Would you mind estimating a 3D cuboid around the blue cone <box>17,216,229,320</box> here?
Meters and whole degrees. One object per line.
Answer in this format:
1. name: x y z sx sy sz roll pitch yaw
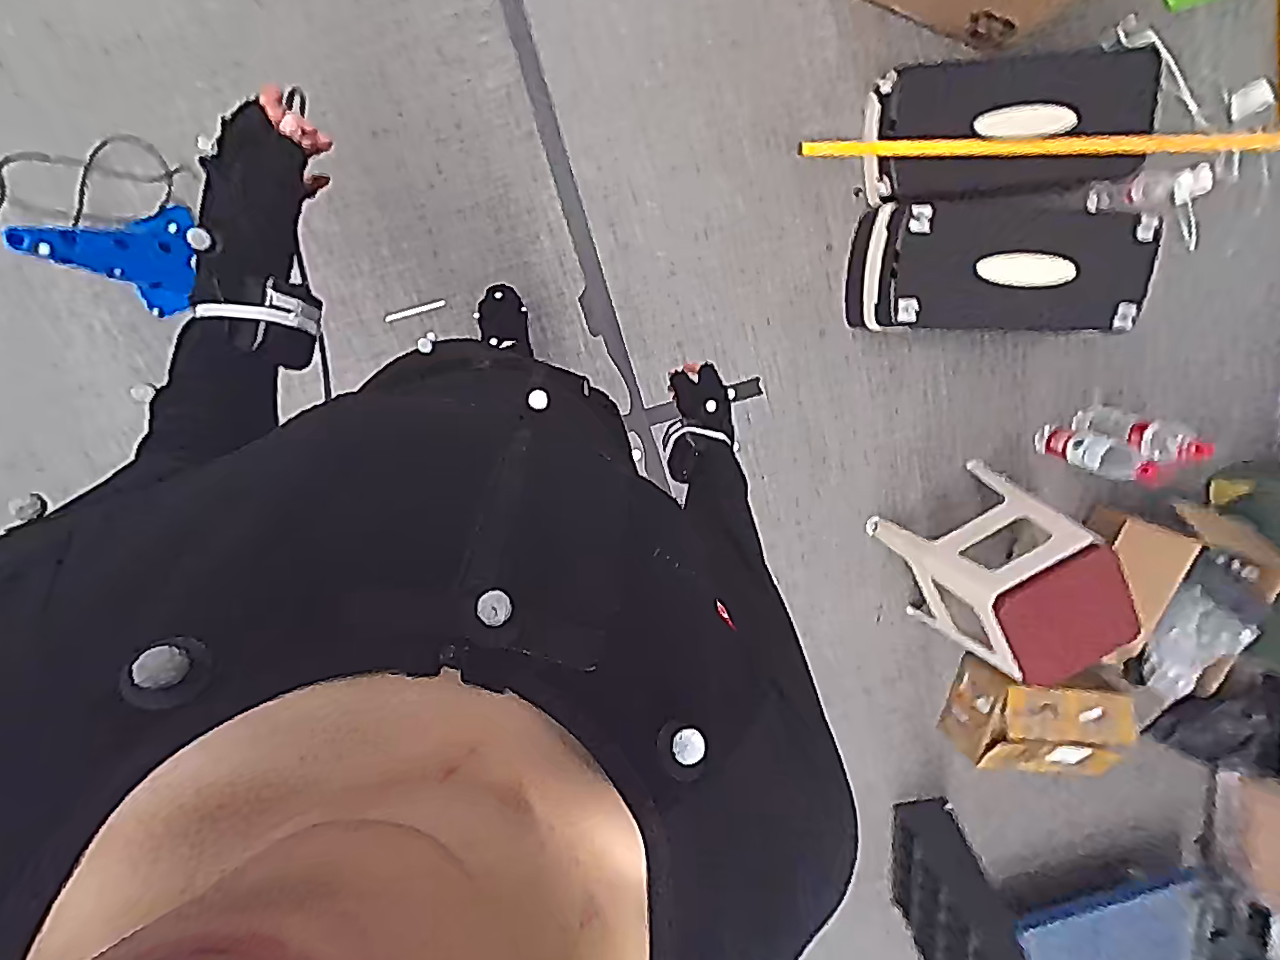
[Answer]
1. blue cone: -1.057 -0.444 1.087 0.193 0.380 0.192 -21 107 1
